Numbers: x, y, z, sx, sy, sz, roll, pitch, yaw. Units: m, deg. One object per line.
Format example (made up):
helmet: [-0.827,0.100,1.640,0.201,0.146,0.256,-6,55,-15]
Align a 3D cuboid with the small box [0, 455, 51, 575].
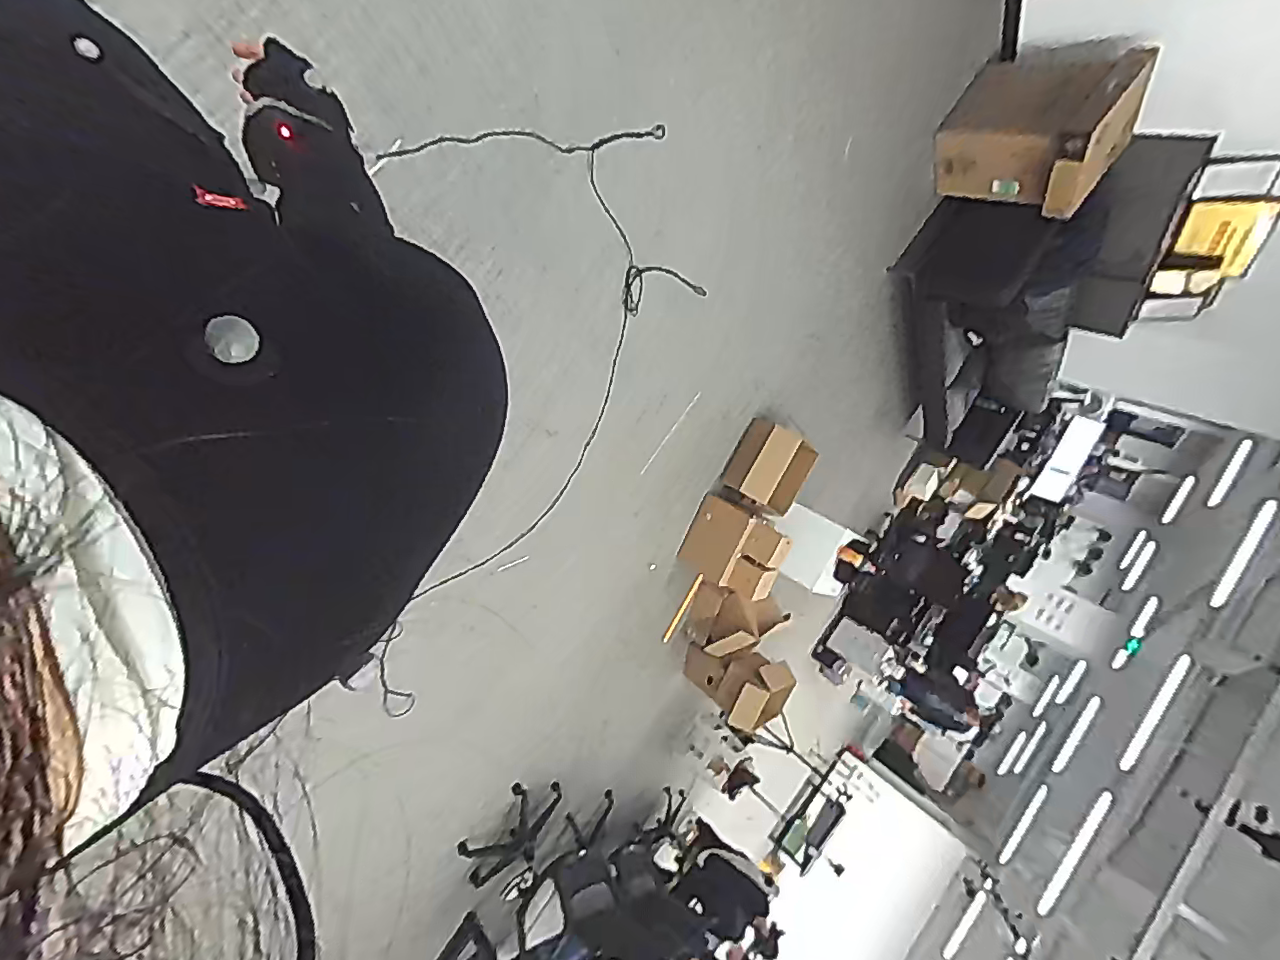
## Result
small box: [-1.225,0.054,0.979,0.179,0.176,0.168,-57,143,-3]

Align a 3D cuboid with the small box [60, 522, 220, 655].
small box: [-0.994,0.214,1.077,0.179,0.176,0.168,-54,144,-7]
